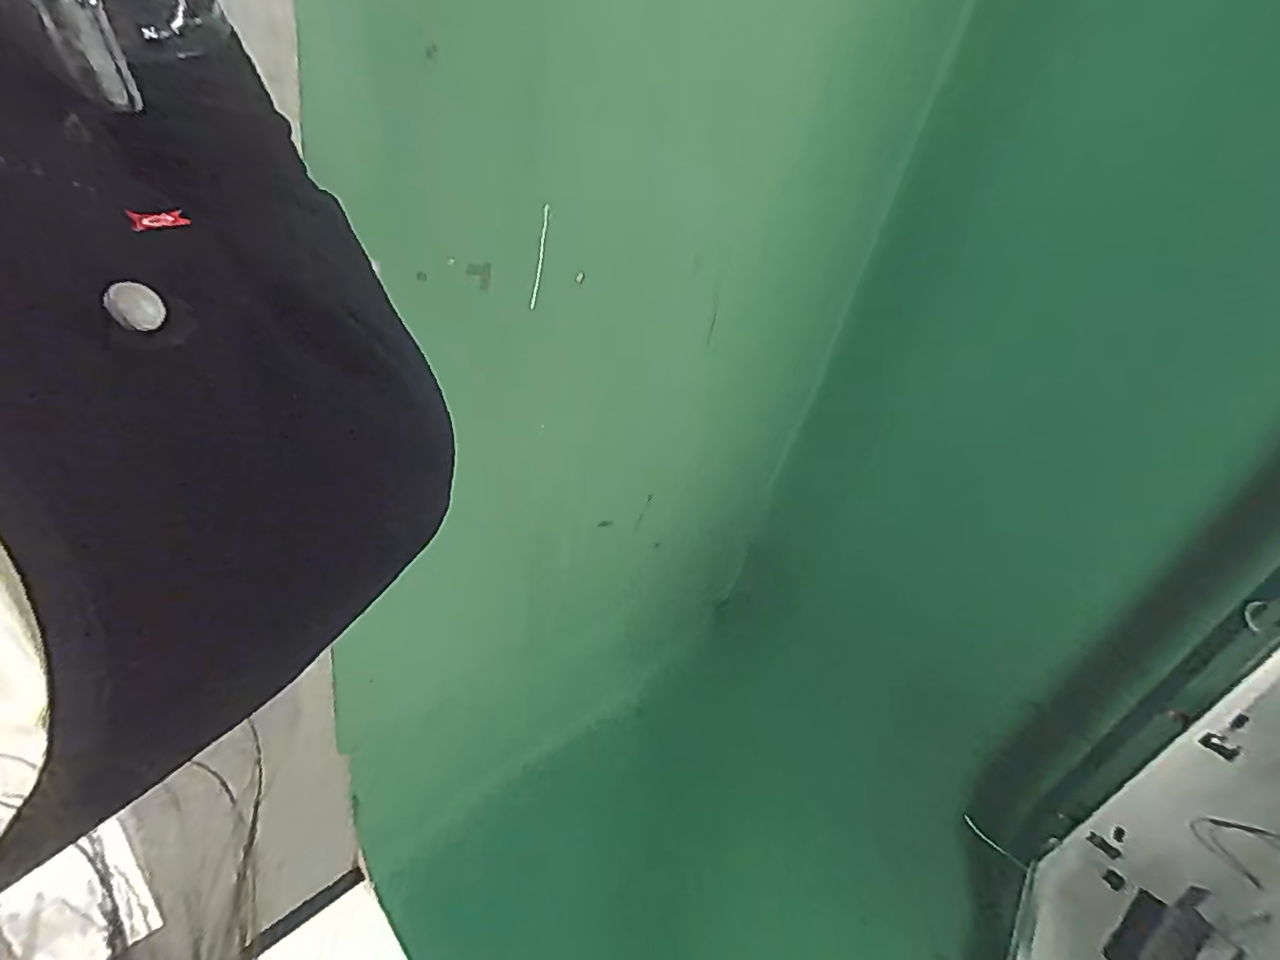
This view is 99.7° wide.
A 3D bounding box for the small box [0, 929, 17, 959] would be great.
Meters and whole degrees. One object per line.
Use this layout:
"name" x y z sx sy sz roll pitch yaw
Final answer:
"small box" -1.052 0.814 0.795 0.179 0.176 0.168 -16 130 -45
